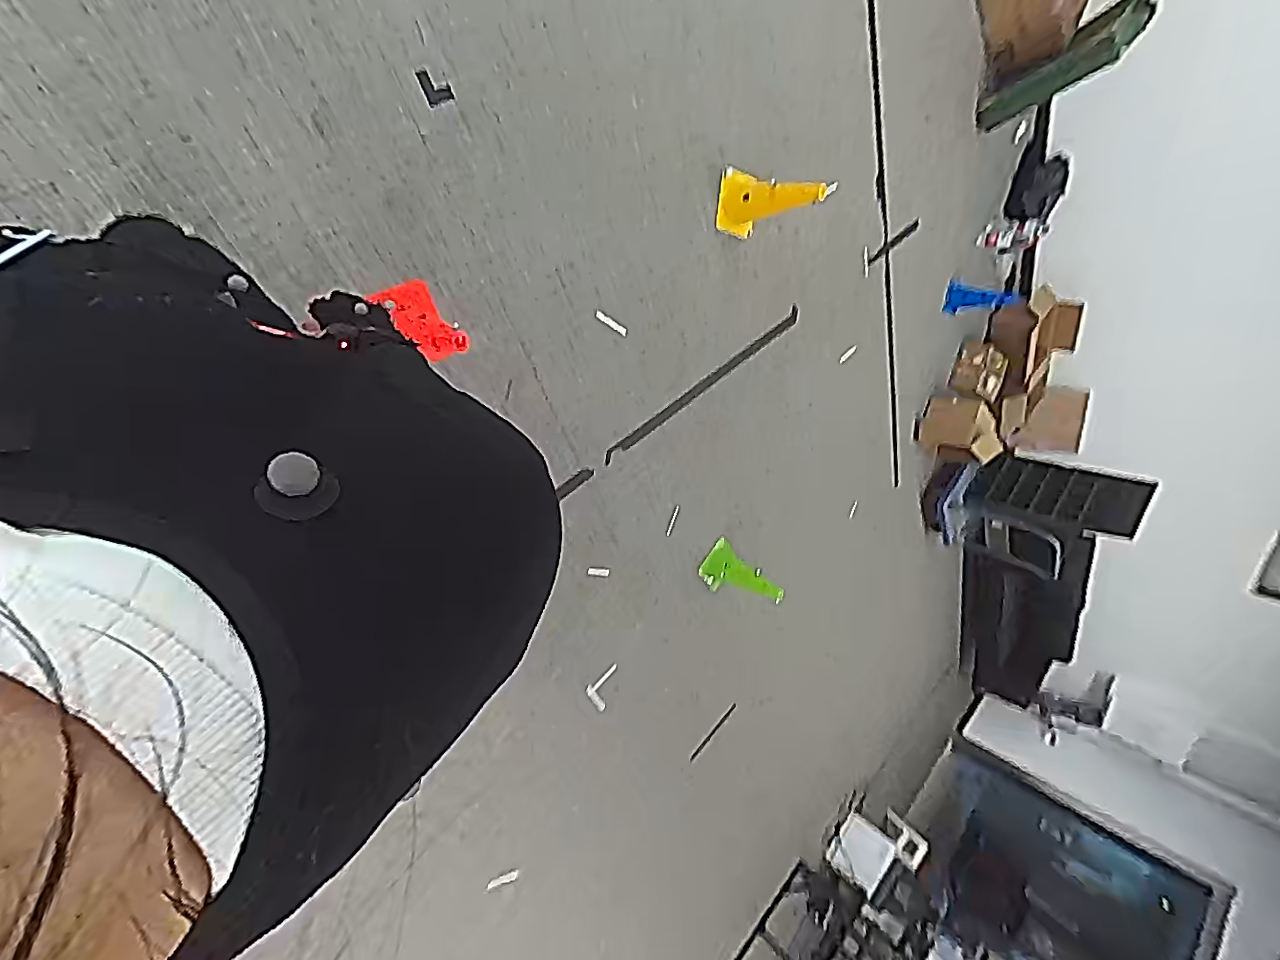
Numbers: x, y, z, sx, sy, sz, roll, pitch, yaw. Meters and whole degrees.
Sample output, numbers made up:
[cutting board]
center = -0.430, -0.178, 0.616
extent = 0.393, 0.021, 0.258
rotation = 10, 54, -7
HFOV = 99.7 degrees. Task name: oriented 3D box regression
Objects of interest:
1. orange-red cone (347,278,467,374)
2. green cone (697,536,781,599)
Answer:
[orange-red cone]
center = -0.484, -0.337, 1.223
extent = 0.199, 0.360, 0.198
rotation = -34, 127, -30
[green cone]
center = 0.466, 0.424, 2.393
extent = 0.202, 0.368, 0.200
rotation = -52, 132, -14
